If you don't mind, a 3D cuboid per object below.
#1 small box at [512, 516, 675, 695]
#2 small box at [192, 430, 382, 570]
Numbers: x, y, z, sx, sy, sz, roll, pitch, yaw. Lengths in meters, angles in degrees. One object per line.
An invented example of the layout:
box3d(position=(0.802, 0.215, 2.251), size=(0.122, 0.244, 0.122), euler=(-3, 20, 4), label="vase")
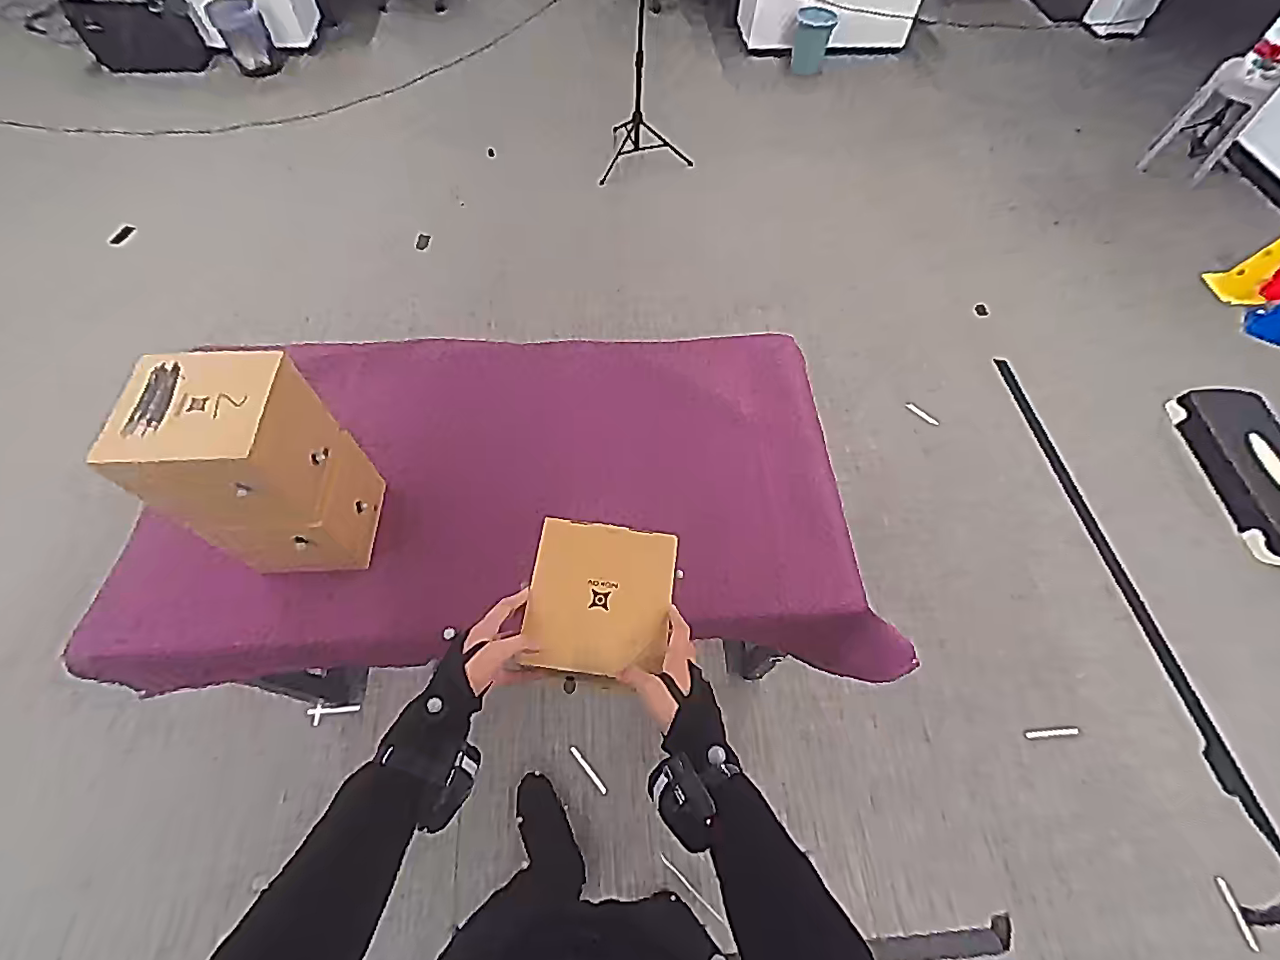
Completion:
box3d(position=(-0.053, 0.168, 0.690), size=(0.168, 0.176, 0.179), euler=(8, 62, -1), label="small box")
box3d(position=(-0.531, 0.036, 0.849), size=(0.179, 0.176, 0.168), euler=(-1, 60, -3), label="small box")
